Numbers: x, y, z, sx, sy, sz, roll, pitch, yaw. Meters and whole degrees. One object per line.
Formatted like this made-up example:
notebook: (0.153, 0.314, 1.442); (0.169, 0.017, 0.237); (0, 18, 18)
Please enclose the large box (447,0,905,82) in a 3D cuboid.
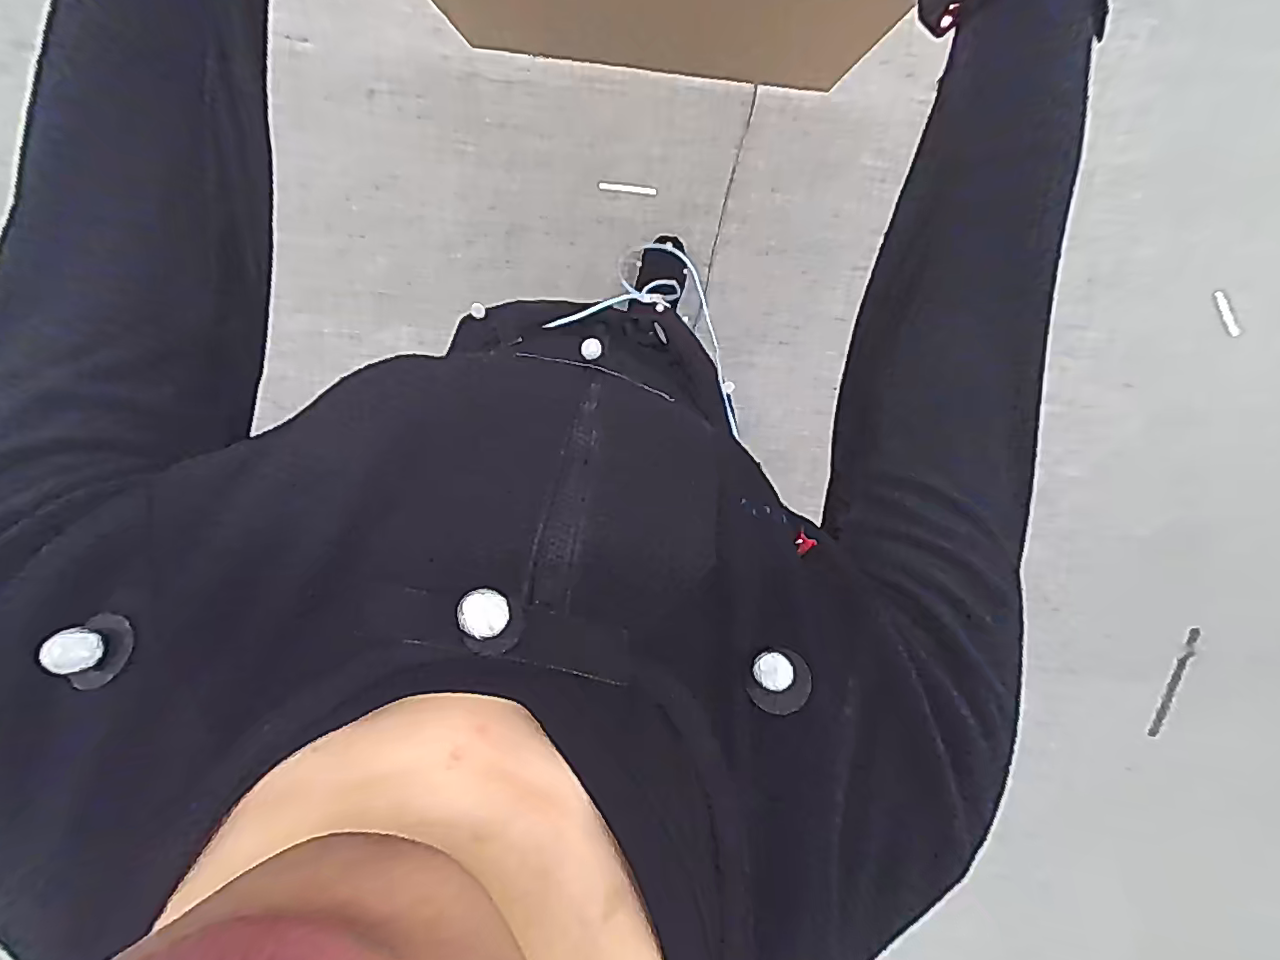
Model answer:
large box: (0.027, -0.548, 0.410); (0.408, 0.320, 0.320); (7, 113, -1)
